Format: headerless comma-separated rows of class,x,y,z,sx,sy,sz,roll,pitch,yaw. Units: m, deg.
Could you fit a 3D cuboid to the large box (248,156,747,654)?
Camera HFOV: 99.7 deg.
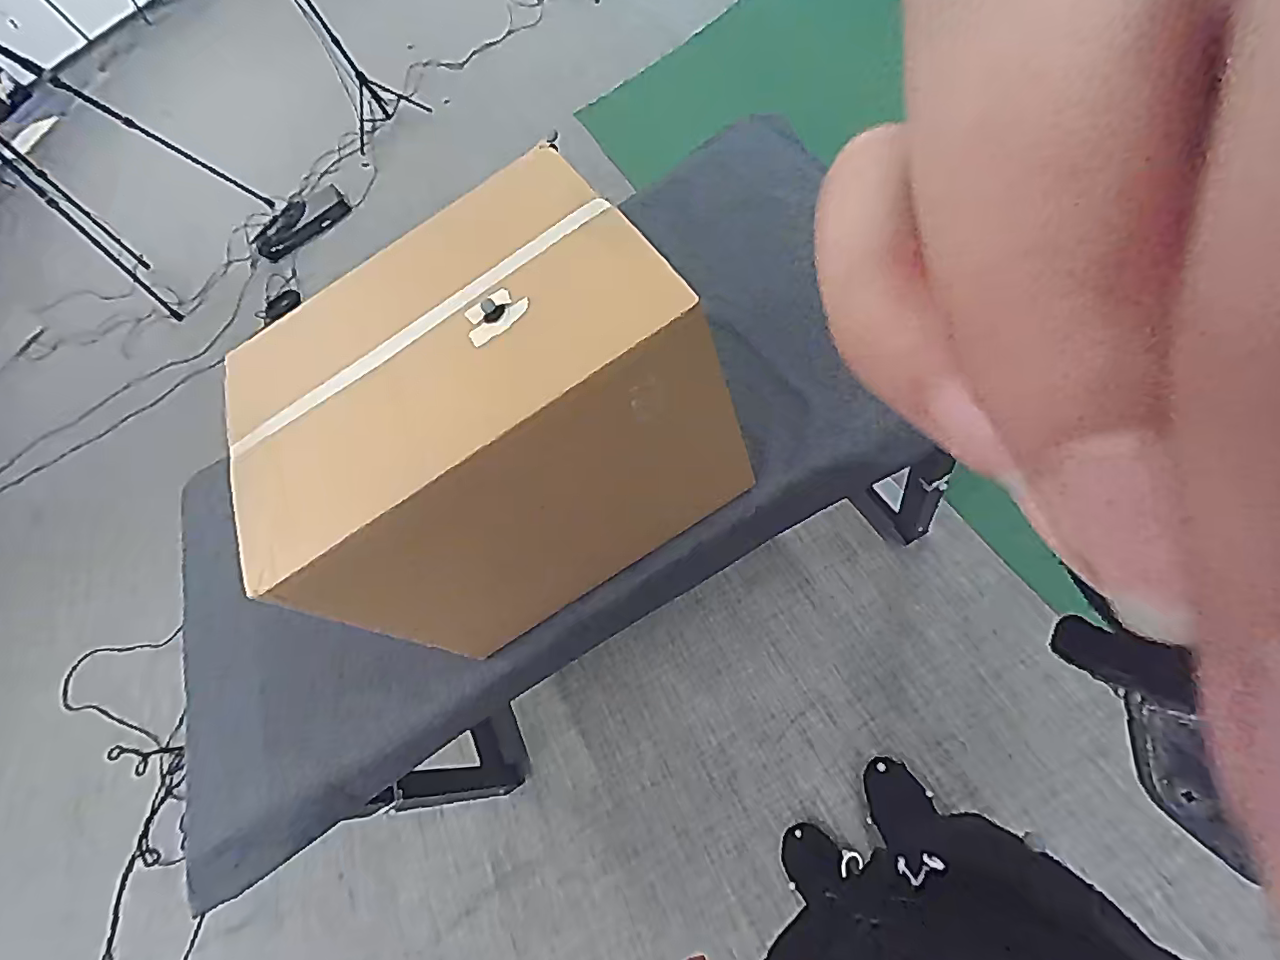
large box,-0.143,-0.065,0.619,0.408,0.320,0.320,-33,58,0
